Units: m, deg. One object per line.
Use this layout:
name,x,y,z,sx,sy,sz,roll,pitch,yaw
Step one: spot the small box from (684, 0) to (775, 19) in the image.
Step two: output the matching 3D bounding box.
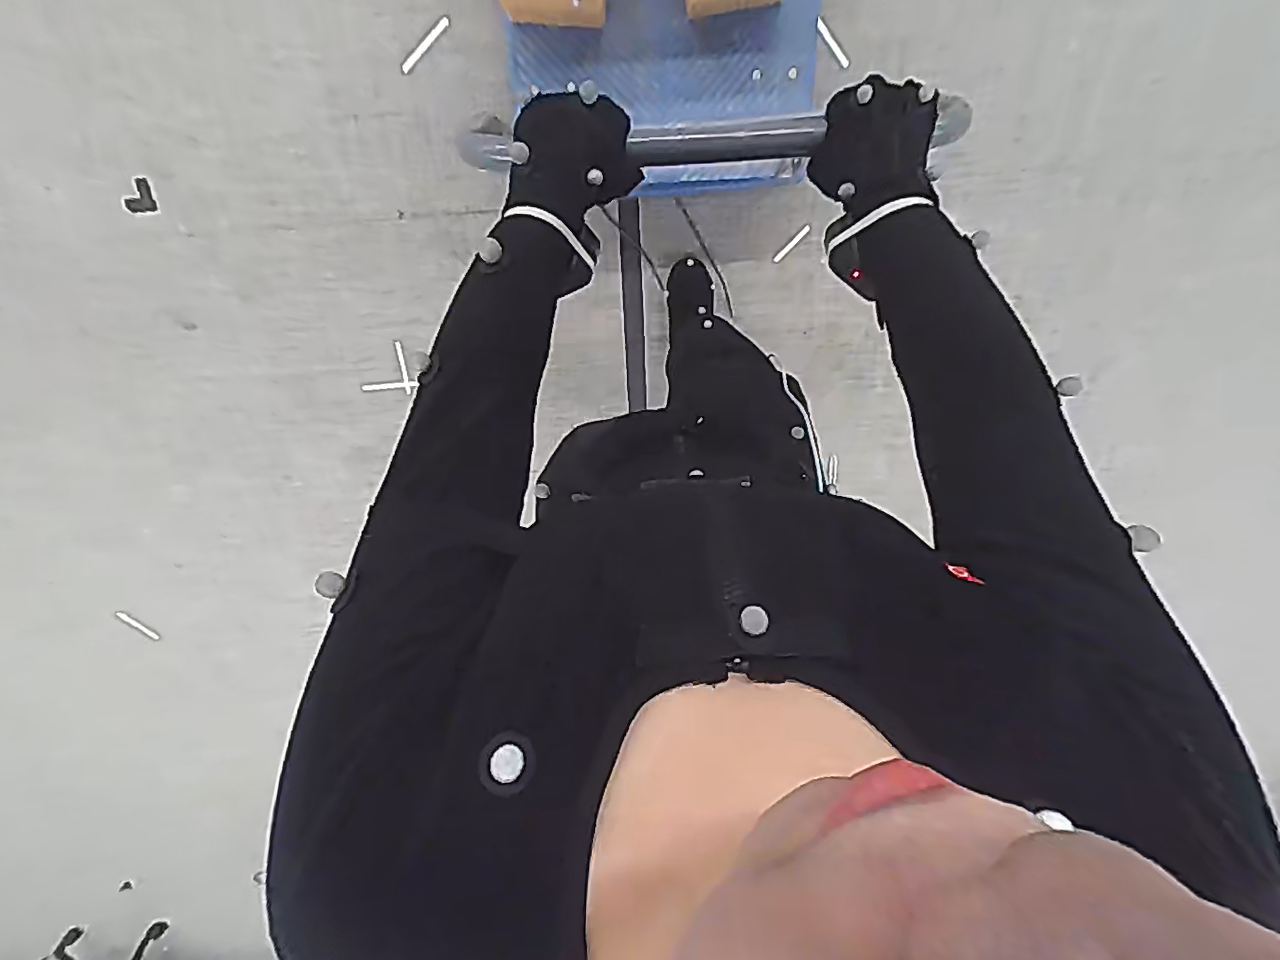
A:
small box,0.157,-0.894,0.883,0.179,0.176,0.168,-8,113,3

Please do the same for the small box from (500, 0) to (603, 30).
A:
small box,-0.149,-0.873,0.887,0.179,0.176,0.168,1,113,-3
